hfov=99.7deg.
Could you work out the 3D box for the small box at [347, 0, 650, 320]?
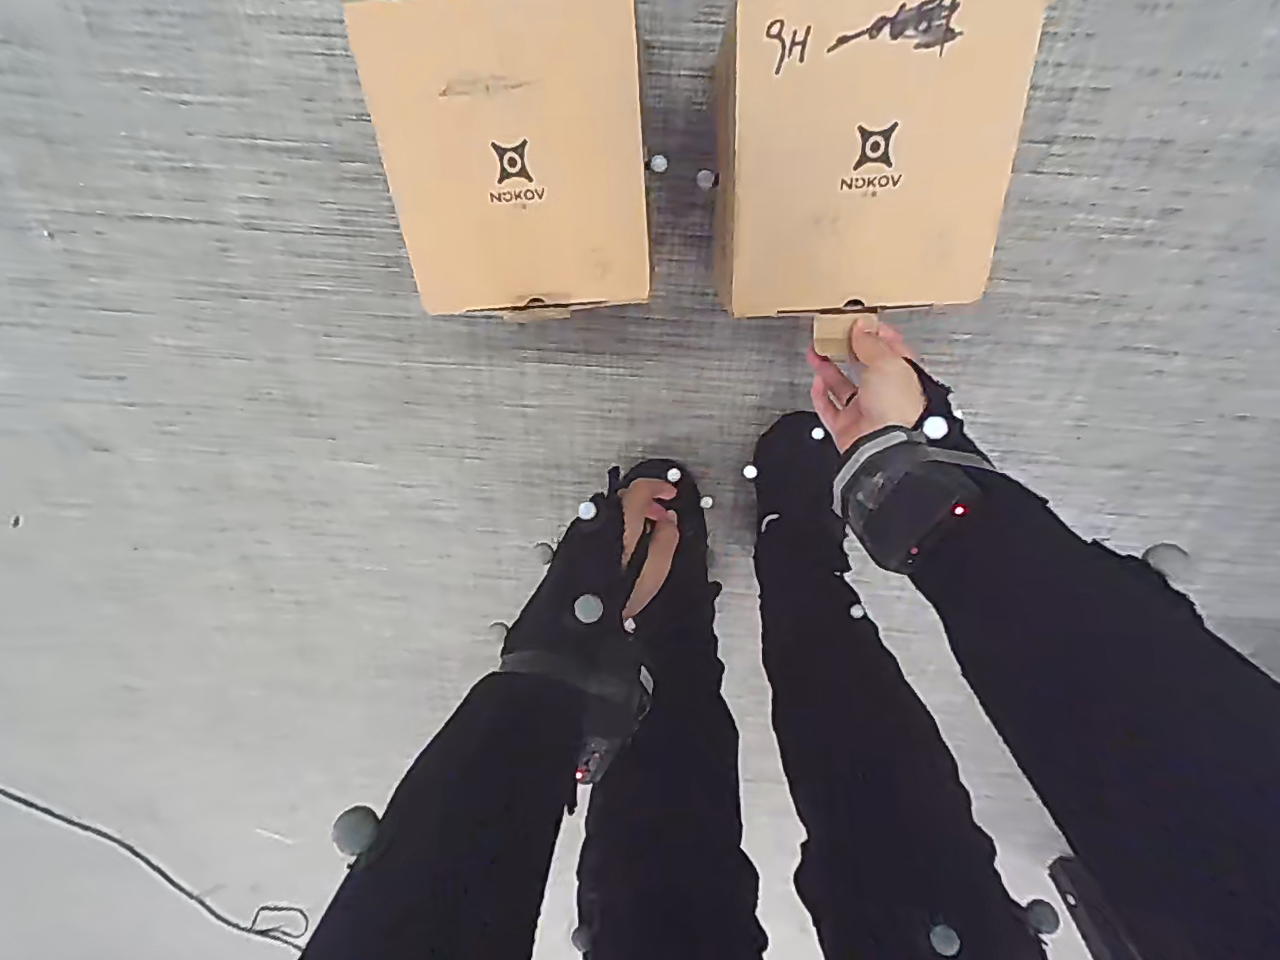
[{"bbox_3d":[-0.080,-0.237,0.417,0.168,0.176,0.179,-4,120,4],"label":"small box"}]
